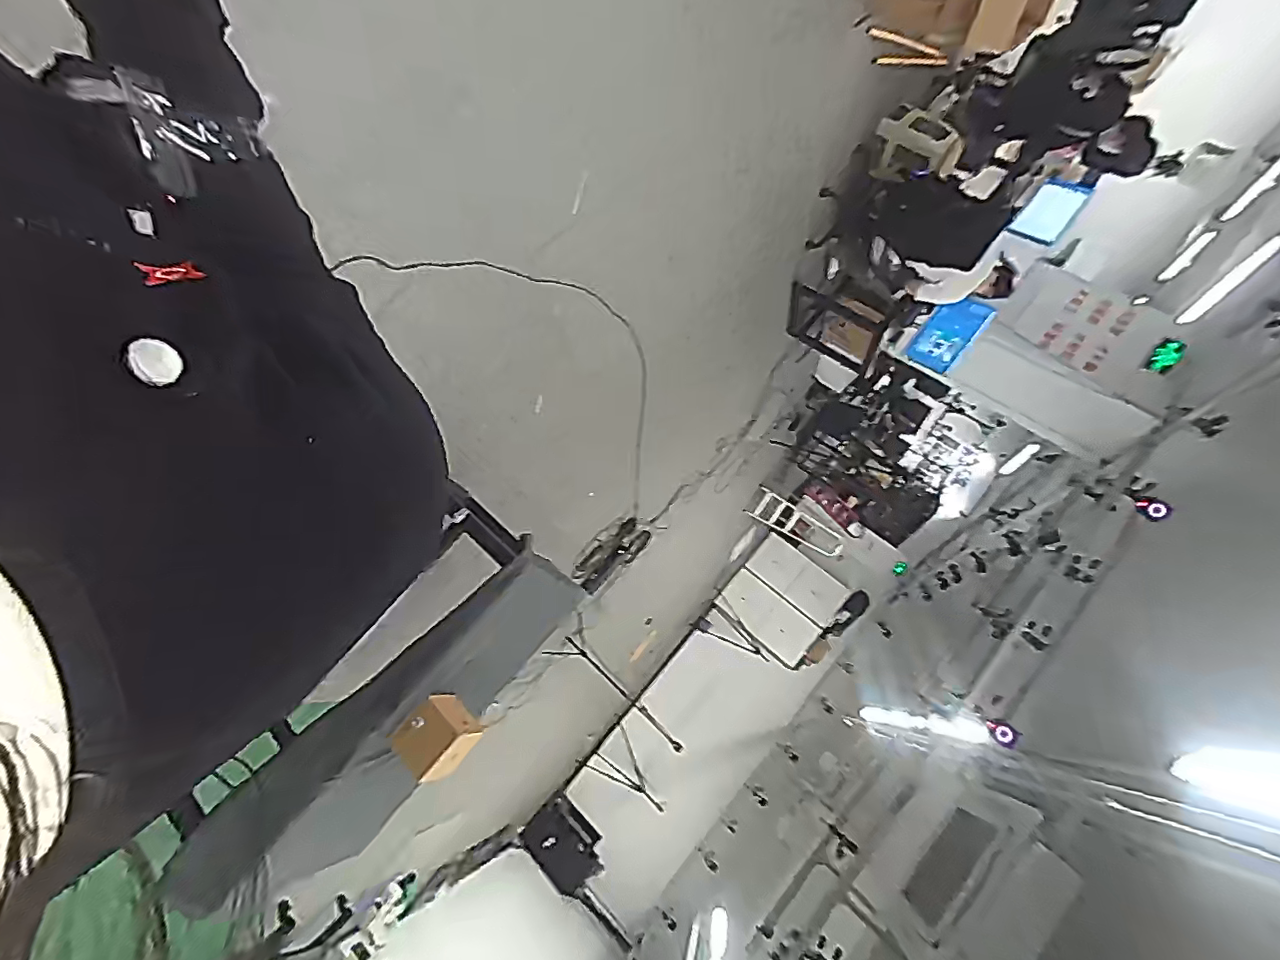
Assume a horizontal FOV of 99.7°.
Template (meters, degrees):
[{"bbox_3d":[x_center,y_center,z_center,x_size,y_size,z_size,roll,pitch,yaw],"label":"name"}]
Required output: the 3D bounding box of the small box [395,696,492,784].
[{"bbox_3d":[-0.583,0.767,1.612,0.168,0.176,0.179,-50,158,-11],"label":"small box"}]
